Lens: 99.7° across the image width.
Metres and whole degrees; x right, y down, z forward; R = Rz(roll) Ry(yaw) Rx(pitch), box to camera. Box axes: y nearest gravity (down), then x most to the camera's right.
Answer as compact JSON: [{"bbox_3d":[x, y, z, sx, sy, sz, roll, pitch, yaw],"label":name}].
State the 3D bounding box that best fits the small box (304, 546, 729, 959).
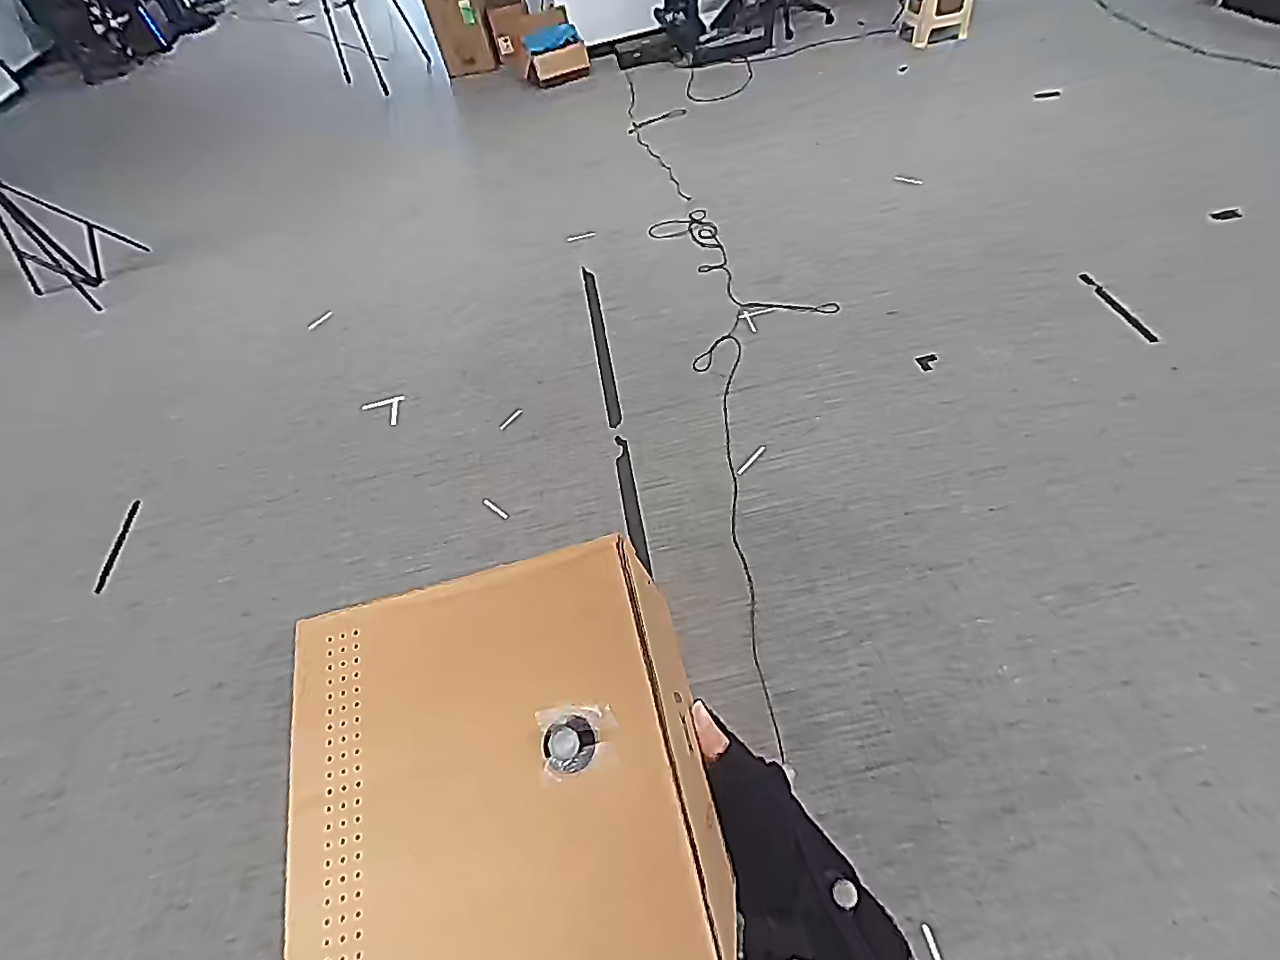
[{"bbox_3d":[-0.056,0.161,0.304,0.176,0.168,0.179,-16,65,3],"label":"small box"}]
